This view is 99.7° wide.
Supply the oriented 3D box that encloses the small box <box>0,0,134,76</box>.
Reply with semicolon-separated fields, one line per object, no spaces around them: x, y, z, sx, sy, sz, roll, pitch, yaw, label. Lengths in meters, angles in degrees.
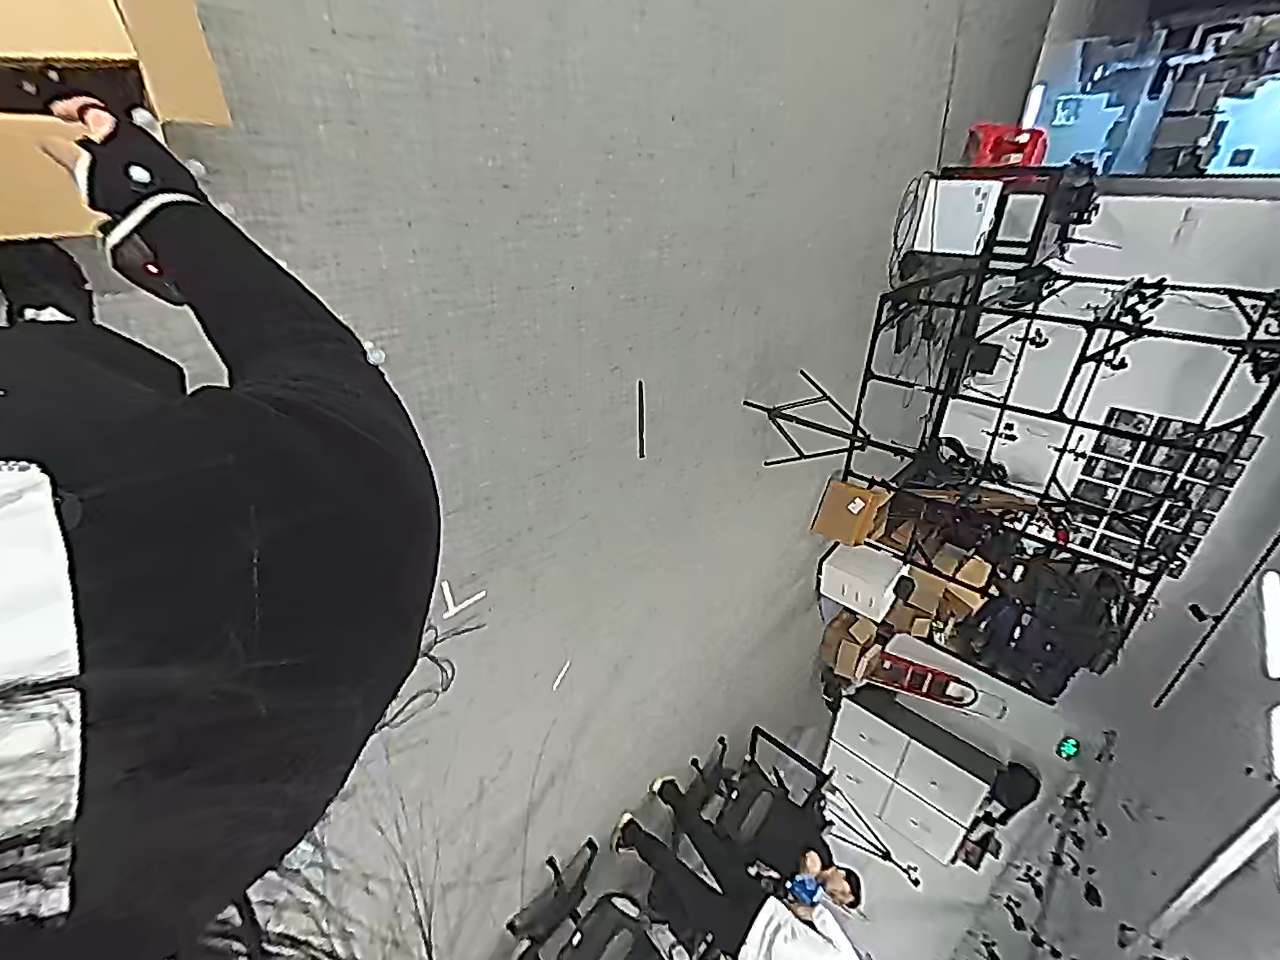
-0.814;-0.634;0.695;0.168;0.176;0.179;-36;135;-38;small box
